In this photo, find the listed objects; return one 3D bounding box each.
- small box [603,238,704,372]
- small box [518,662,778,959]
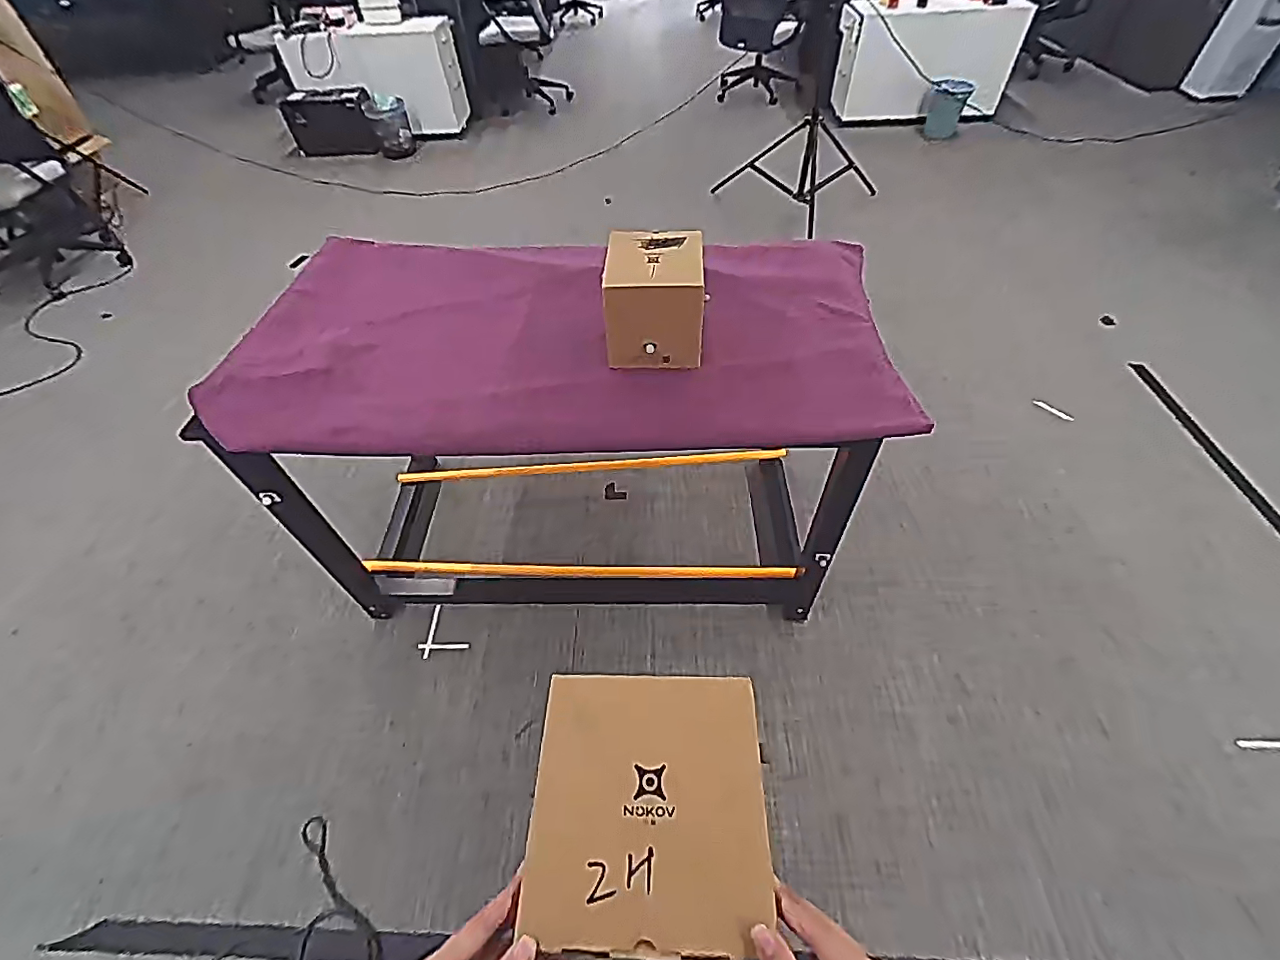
[{"bbox_3d":[0.028,-0.317,0.981,0.168,0.176,0.179,1,50,4],"label":"small box"},{"bbox_3d":[0.011,0.272,0.449,0.168,0.176,0.179,-1,47,4],"label":"small box"}]
